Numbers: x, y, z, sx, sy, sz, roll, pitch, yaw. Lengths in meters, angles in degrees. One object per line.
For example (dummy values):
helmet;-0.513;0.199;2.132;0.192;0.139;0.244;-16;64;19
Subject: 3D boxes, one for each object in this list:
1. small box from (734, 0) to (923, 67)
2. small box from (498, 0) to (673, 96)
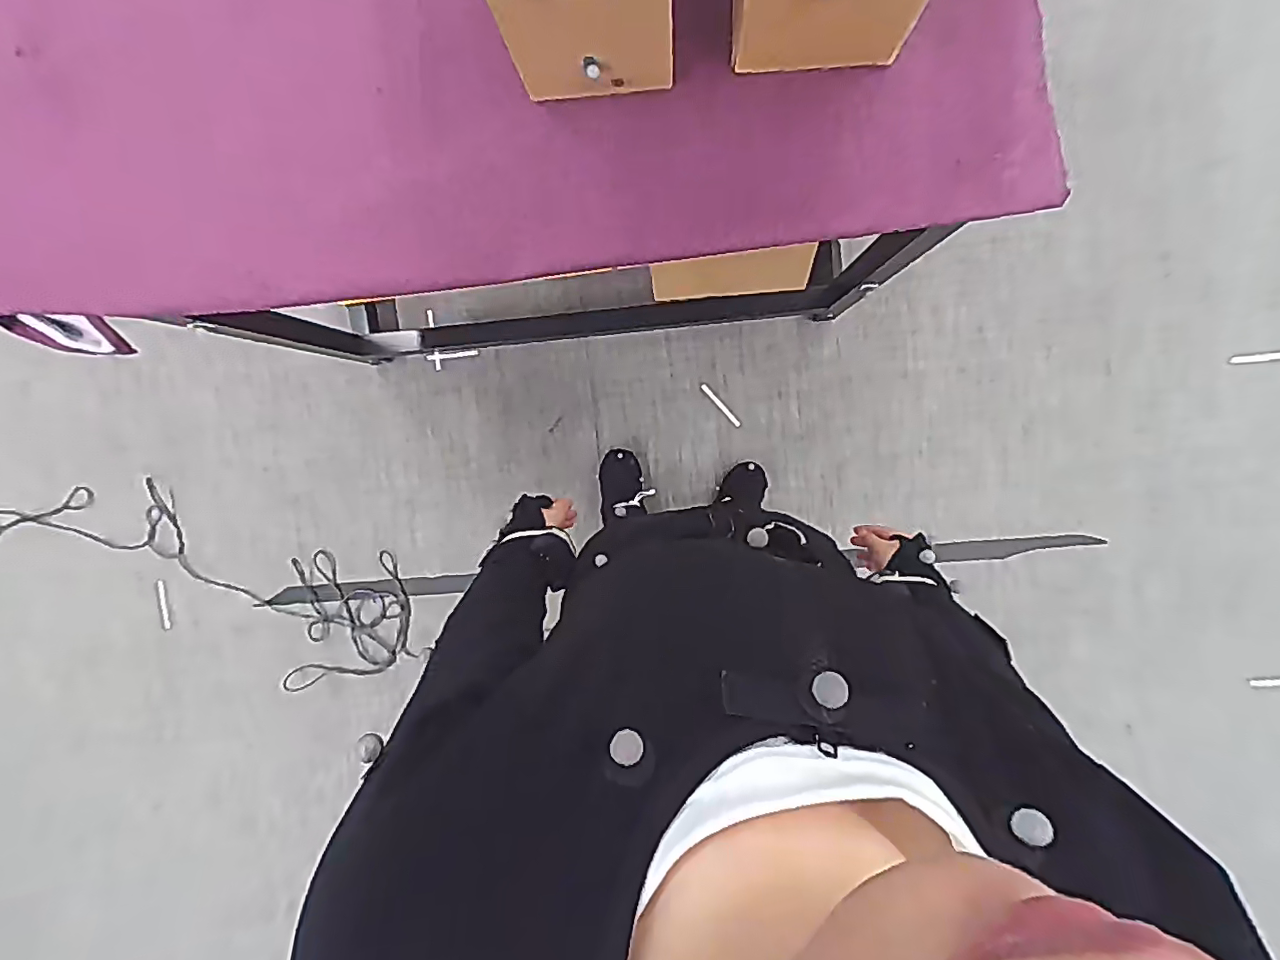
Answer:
small box;0.187;-0.533;0.512;0.179;0.176;0.168;0;94;4
small box;-0.053;-0.521;0.527;0.168;0.176;0.179;-2;95;5
